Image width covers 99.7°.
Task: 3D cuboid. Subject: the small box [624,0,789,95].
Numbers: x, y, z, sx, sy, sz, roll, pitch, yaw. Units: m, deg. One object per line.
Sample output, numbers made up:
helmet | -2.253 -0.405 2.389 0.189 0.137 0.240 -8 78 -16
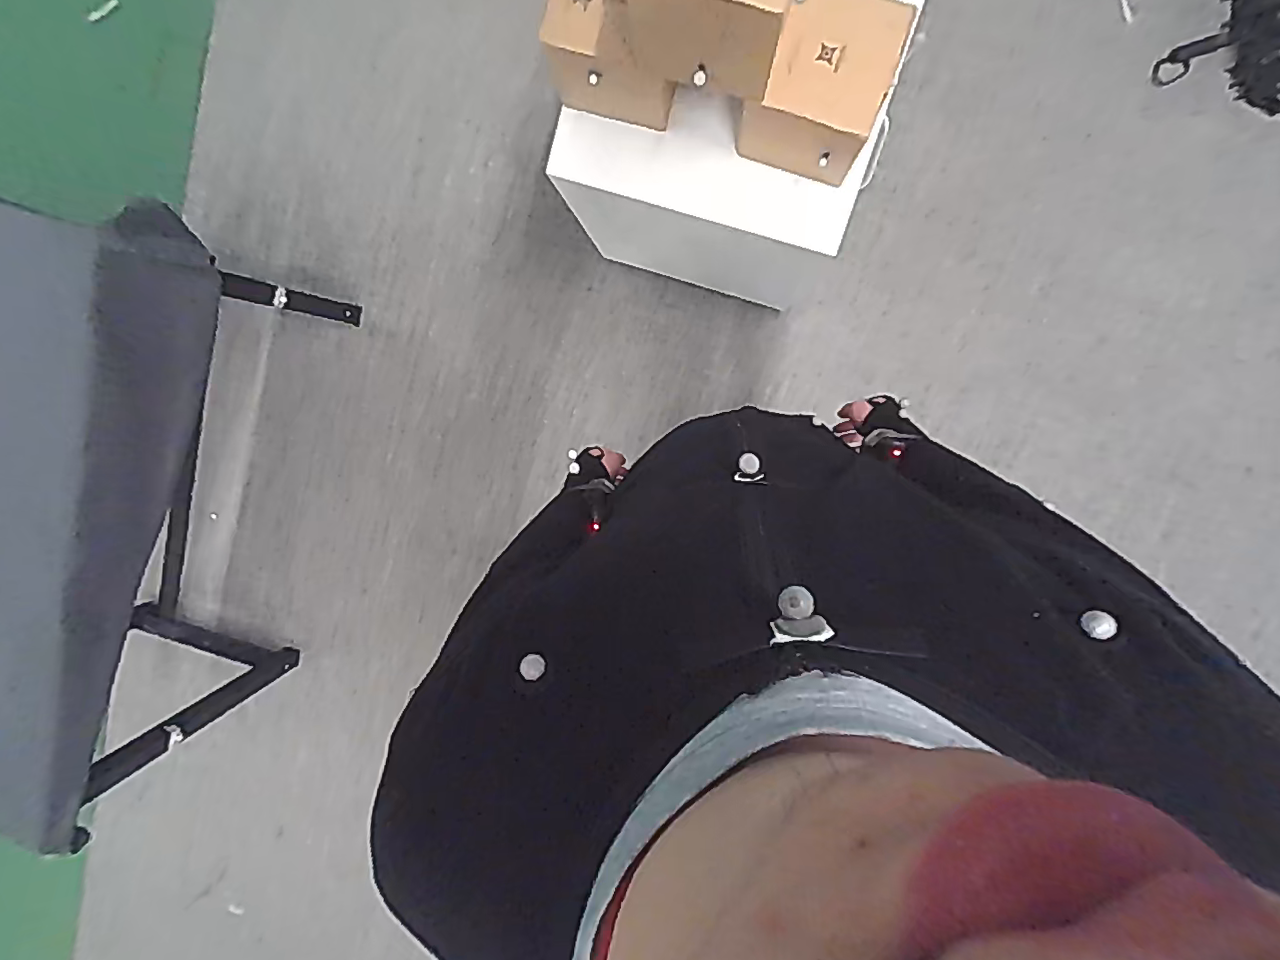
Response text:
small box | 0.089 -0.586 0.622 0.179 0.176 0.168 16 99 2

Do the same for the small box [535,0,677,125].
small box | -0.031 -0.656 0.788 0.179 0.176 0.168 16 100 2

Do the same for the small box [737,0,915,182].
small box | 0.250 -0.558 0.775 0.179 0.176 0.168 20 99 5
